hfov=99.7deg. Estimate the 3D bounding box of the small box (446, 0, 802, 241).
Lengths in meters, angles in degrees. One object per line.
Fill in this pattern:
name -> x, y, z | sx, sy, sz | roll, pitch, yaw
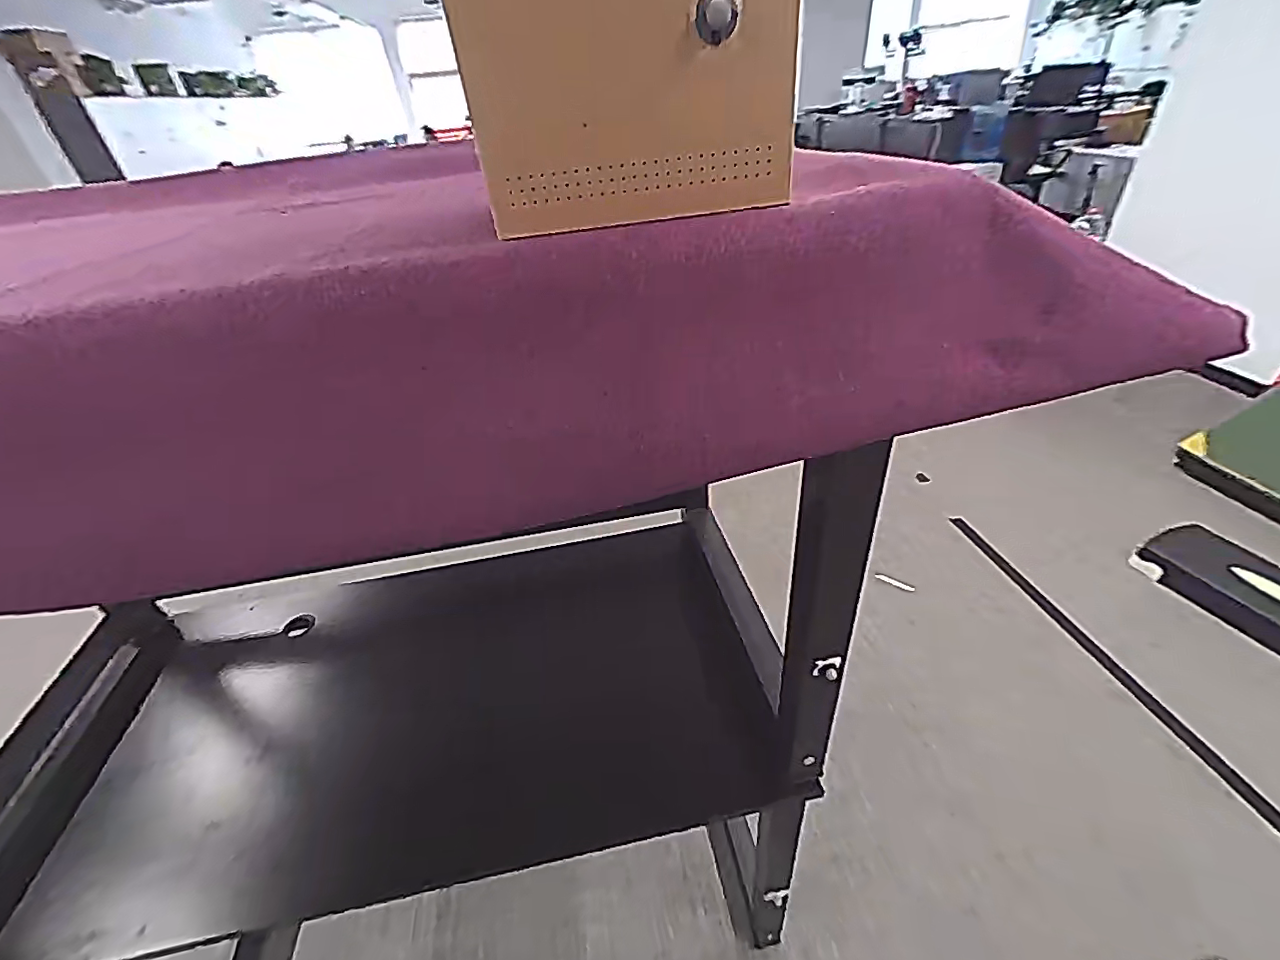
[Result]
small box -> -0.008, -0.259, 0.331 | 0.179, 0.176, 0.168 | -7, 35, 0
